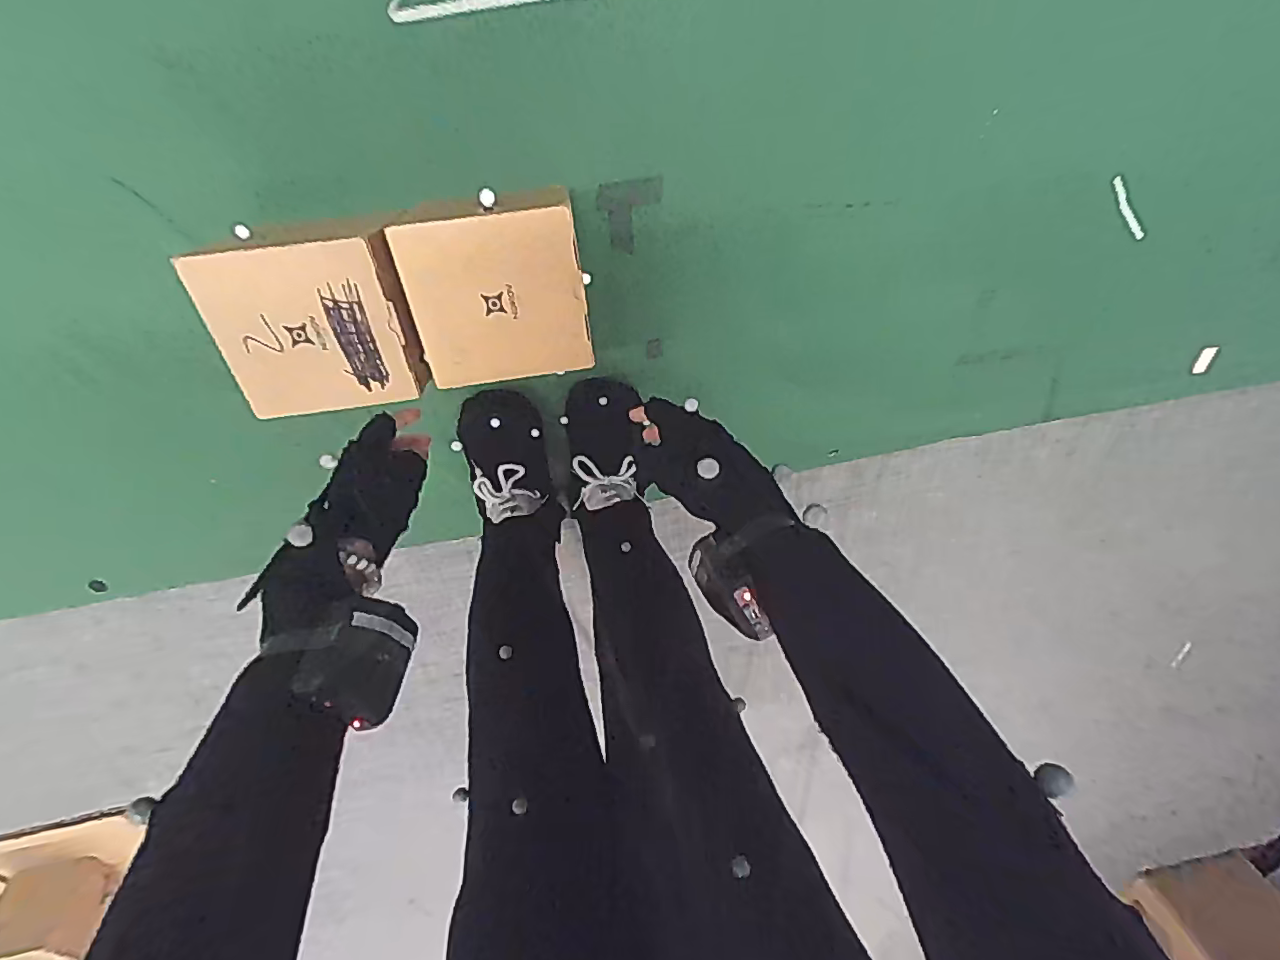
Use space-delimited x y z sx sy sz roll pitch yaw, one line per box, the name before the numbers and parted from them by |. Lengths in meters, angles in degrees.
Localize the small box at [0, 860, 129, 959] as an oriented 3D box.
small box | -1.304 0.974 1.188 0.179 0.176 0.168 -9 126 -5
